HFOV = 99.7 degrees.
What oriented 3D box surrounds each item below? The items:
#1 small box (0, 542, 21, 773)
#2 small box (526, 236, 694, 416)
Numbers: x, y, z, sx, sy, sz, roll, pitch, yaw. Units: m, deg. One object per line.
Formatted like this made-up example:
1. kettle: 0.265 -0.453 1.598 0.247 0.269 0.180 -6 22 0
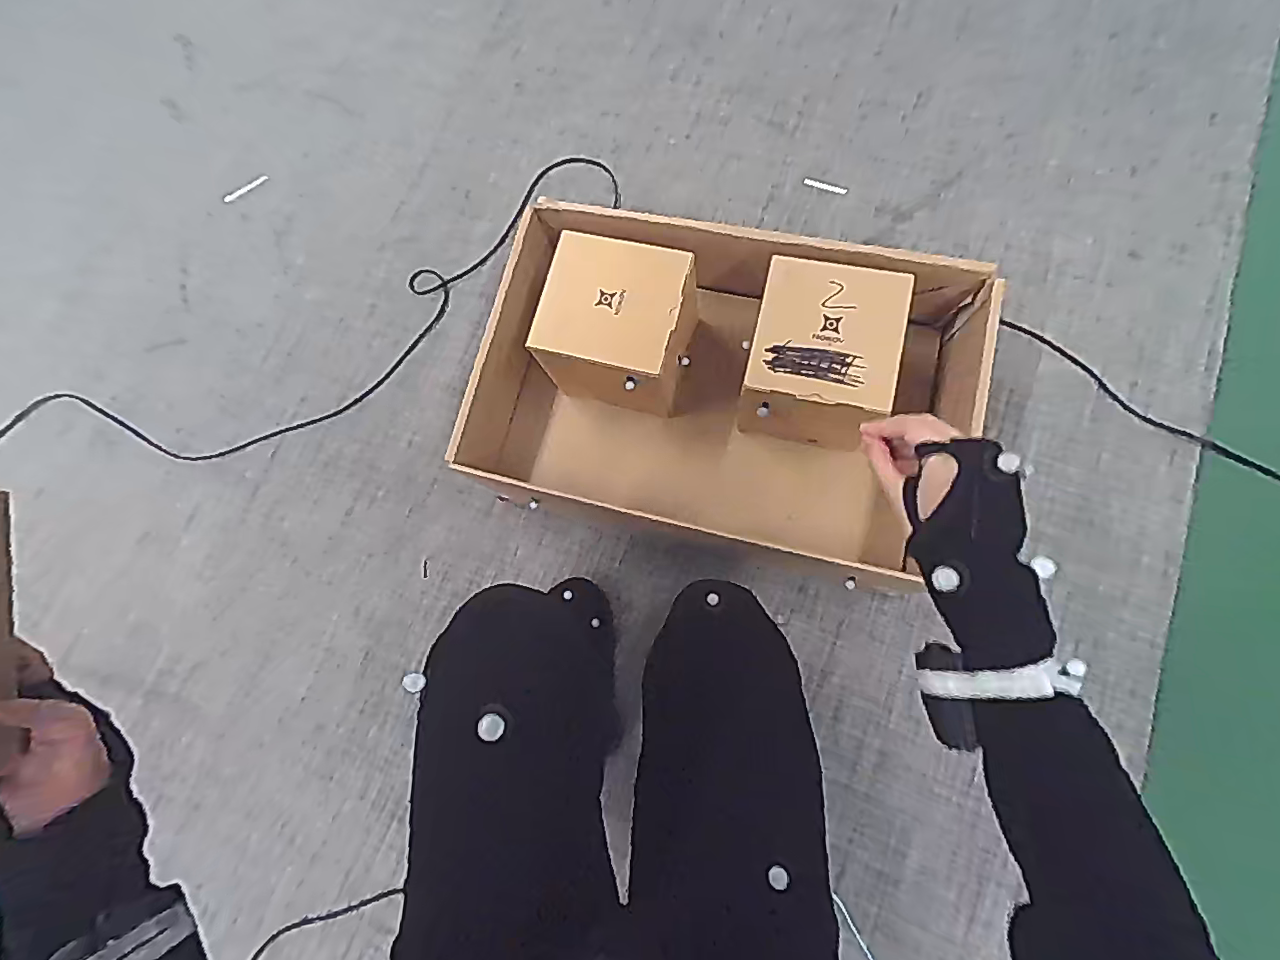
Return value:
1. small box: -0.428 0.095 0.224 0.168 0.176 0.179 12 103 -5
2. small box: -0.029 -0.200 0.743 0.179 0.176 0.168 14 81 8
